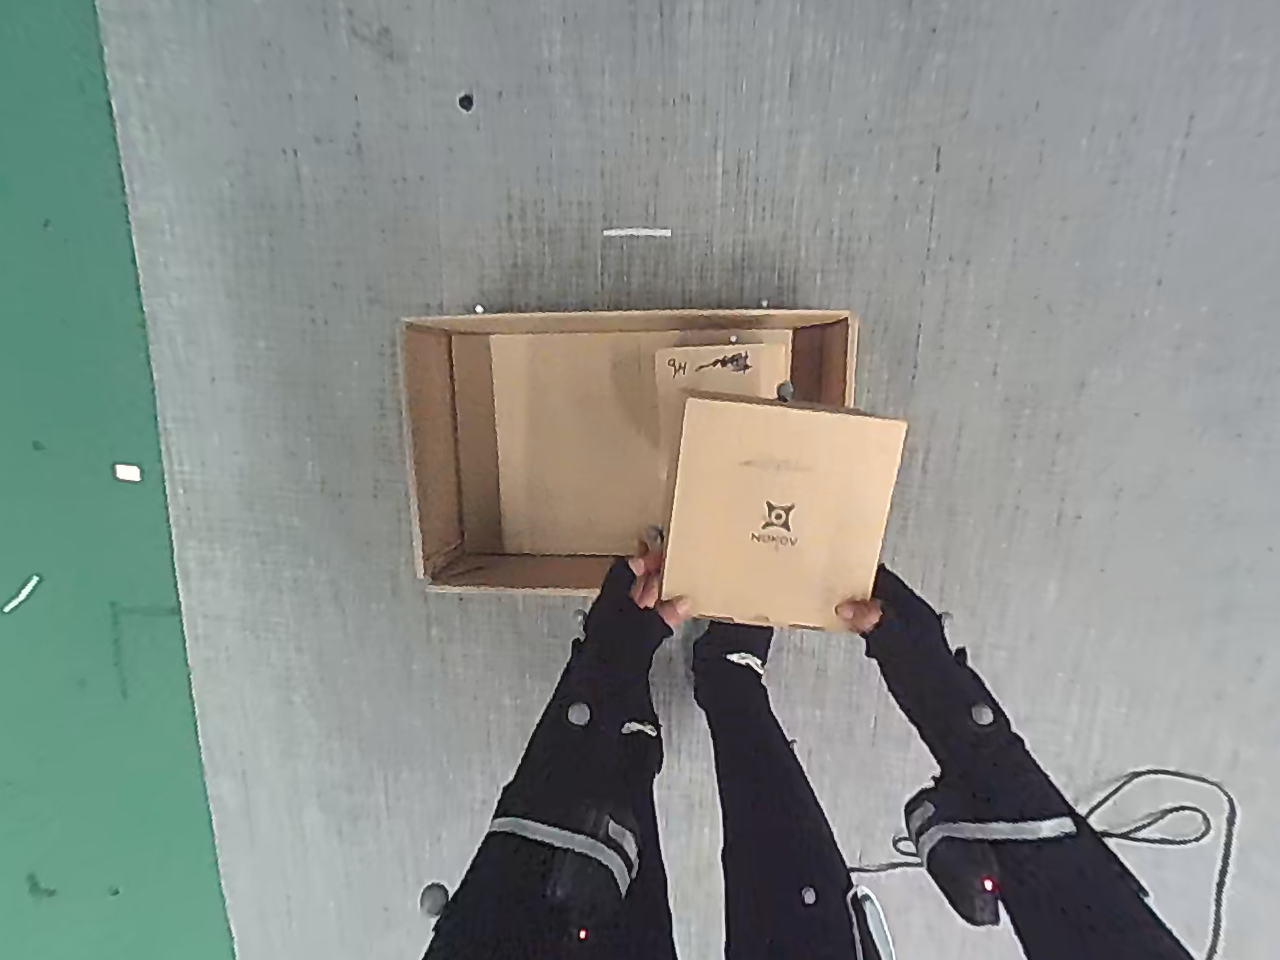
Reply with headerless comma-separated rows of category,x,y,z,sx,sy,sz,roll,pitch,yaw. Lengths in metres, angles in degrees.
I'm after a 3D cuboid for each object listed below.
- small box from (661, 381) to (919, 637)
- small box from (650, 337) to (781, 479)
small box,0.110,0.011,0.476,0.168,0.176,0.179,6,102,1
small box,0.109,-0.105,0.770,0.168,0.176,0.179,-3,100,7
